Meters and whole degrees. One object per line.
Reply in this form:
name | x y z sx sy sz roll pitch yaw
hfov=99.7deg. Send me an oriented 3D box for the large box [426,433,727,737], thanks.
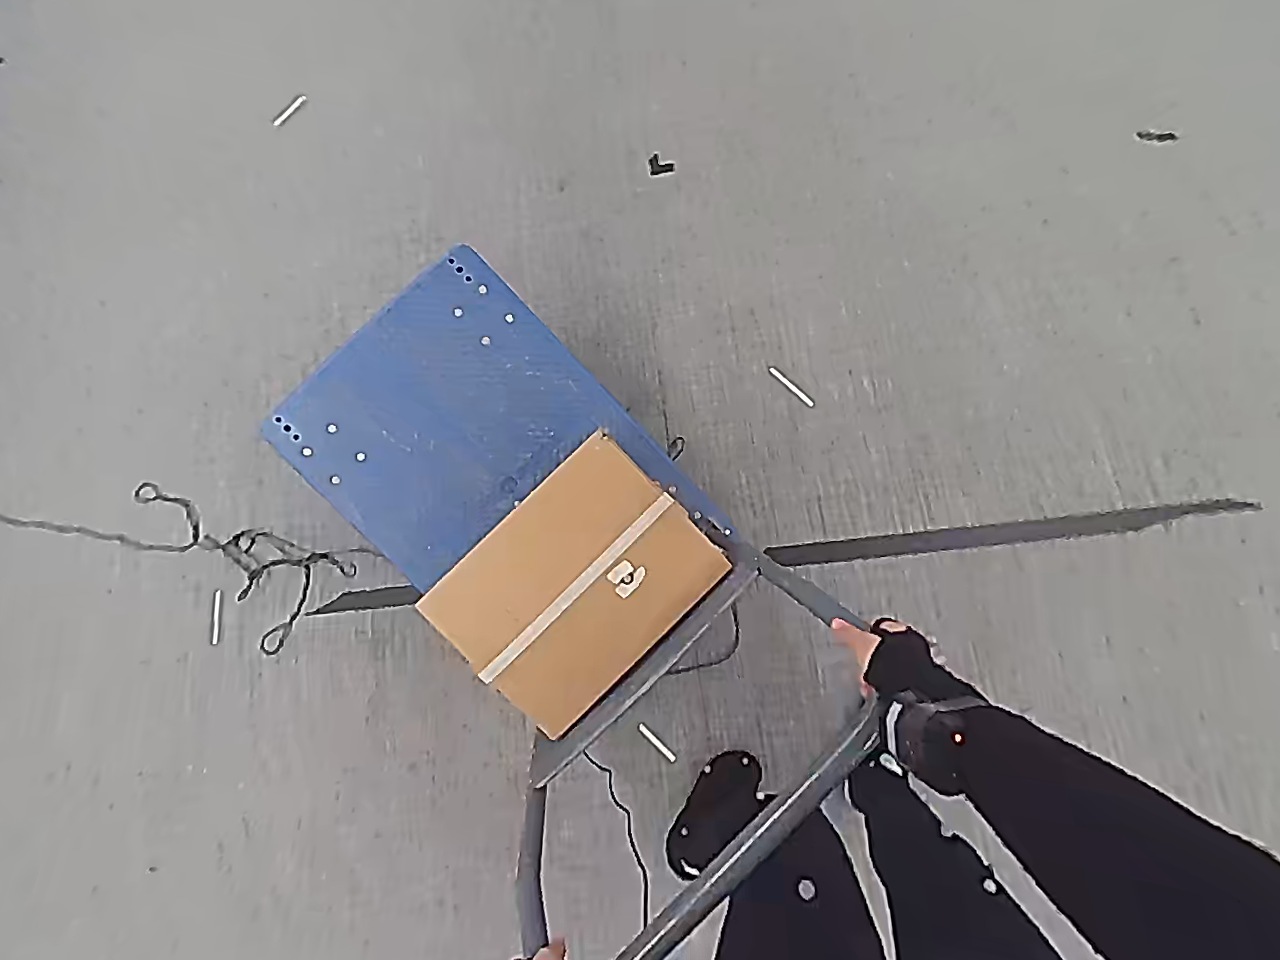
large box | -0.111 0.170 1.018 0.320 0.320 0.408 45 87 -5
